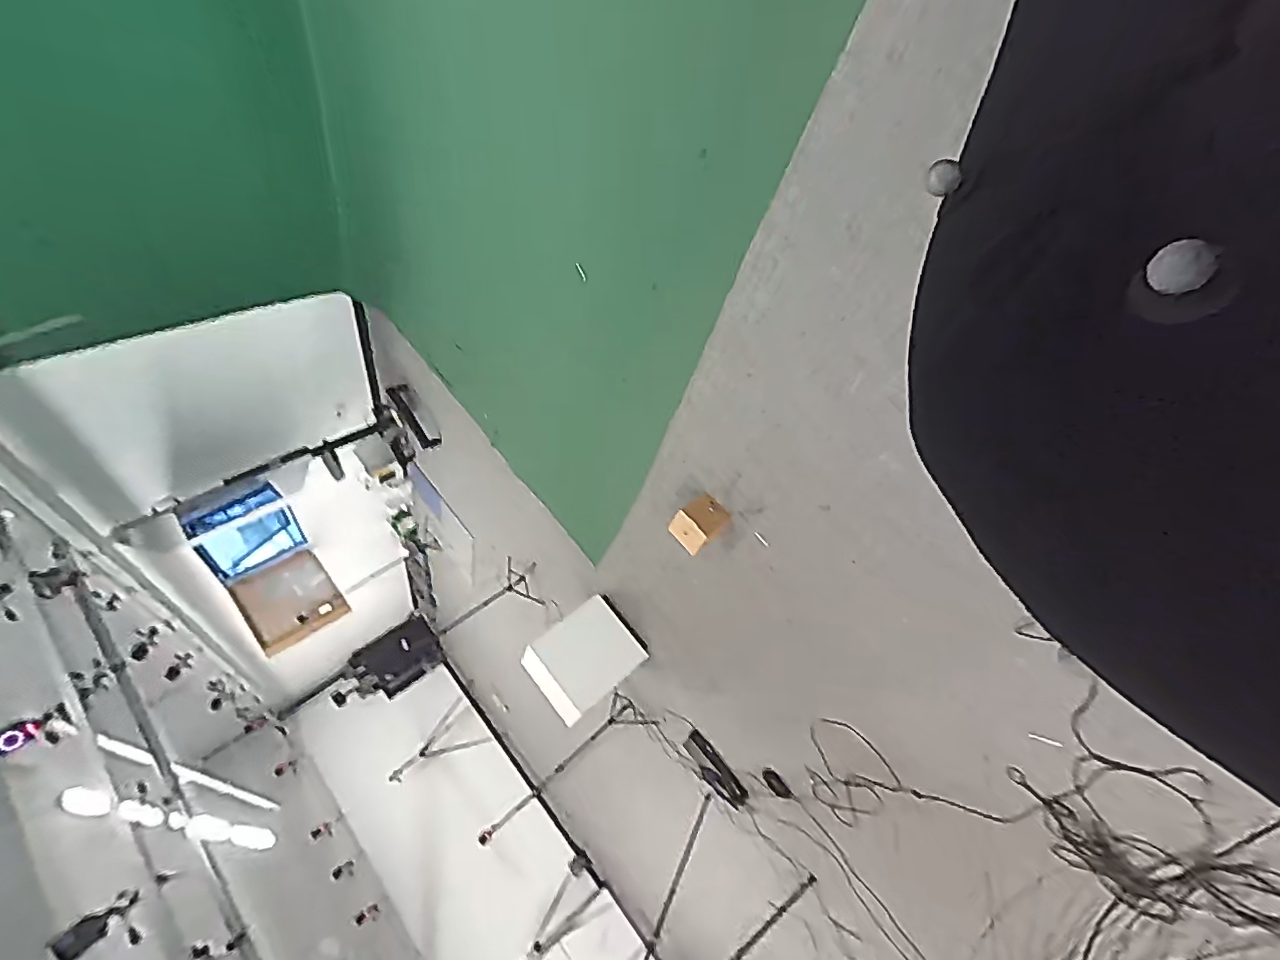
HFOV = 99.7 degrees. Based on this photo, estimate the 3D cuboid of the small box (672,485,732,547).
[{"bbox_3d":[0.273,0.155,2.355,0.168,0.176,0.179,48,145,16],"label":"small box"}]
